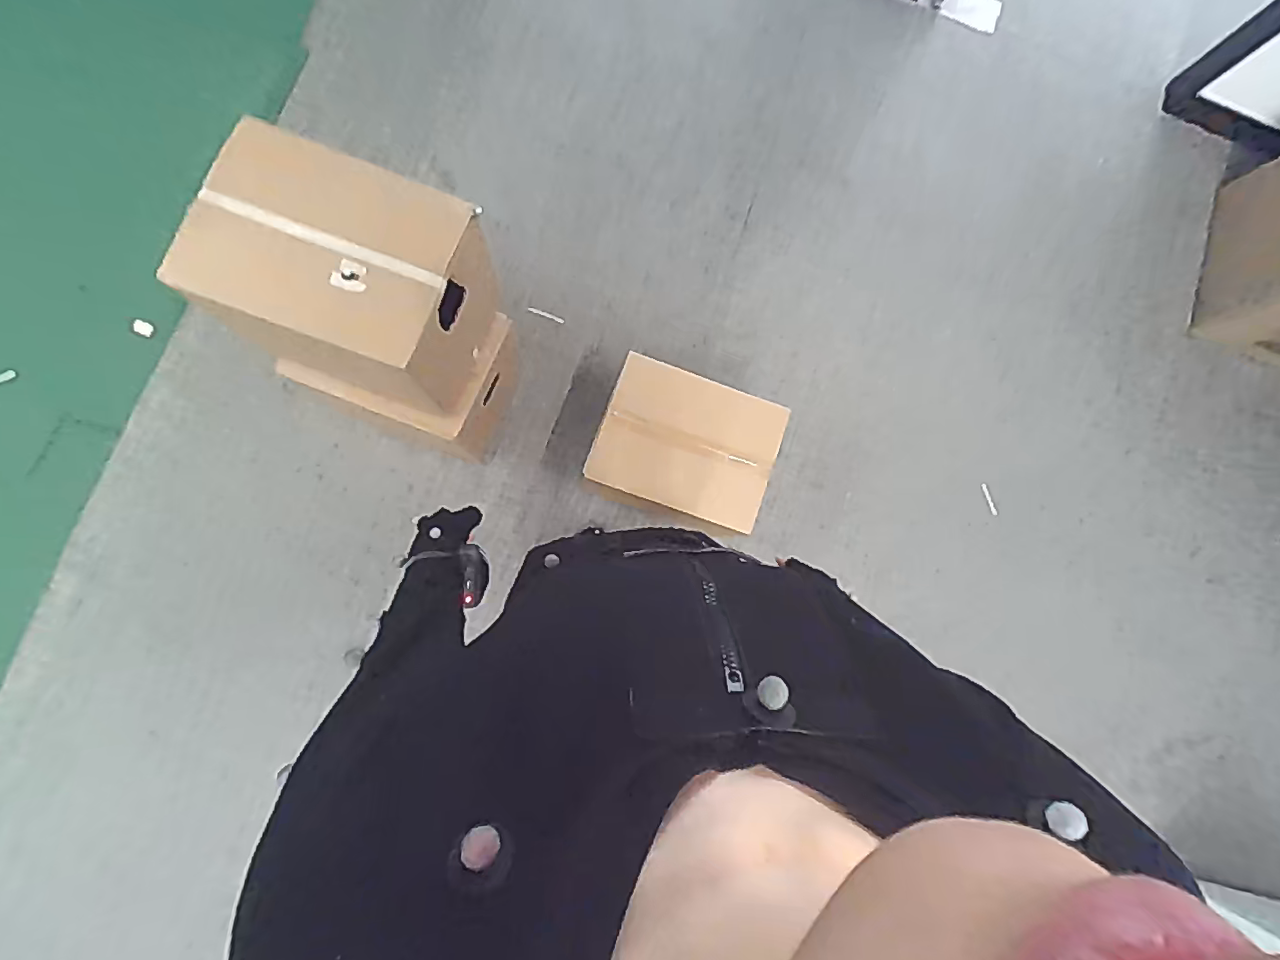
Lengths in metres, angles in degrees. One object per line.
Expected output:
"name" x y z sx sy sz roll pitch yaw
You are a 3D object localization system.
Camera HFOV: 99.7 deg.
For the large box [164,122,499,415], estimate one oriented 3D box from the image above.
"large box" -0.525 -0.365 1.023 0.408 0.320 0.320 20 79 -5
